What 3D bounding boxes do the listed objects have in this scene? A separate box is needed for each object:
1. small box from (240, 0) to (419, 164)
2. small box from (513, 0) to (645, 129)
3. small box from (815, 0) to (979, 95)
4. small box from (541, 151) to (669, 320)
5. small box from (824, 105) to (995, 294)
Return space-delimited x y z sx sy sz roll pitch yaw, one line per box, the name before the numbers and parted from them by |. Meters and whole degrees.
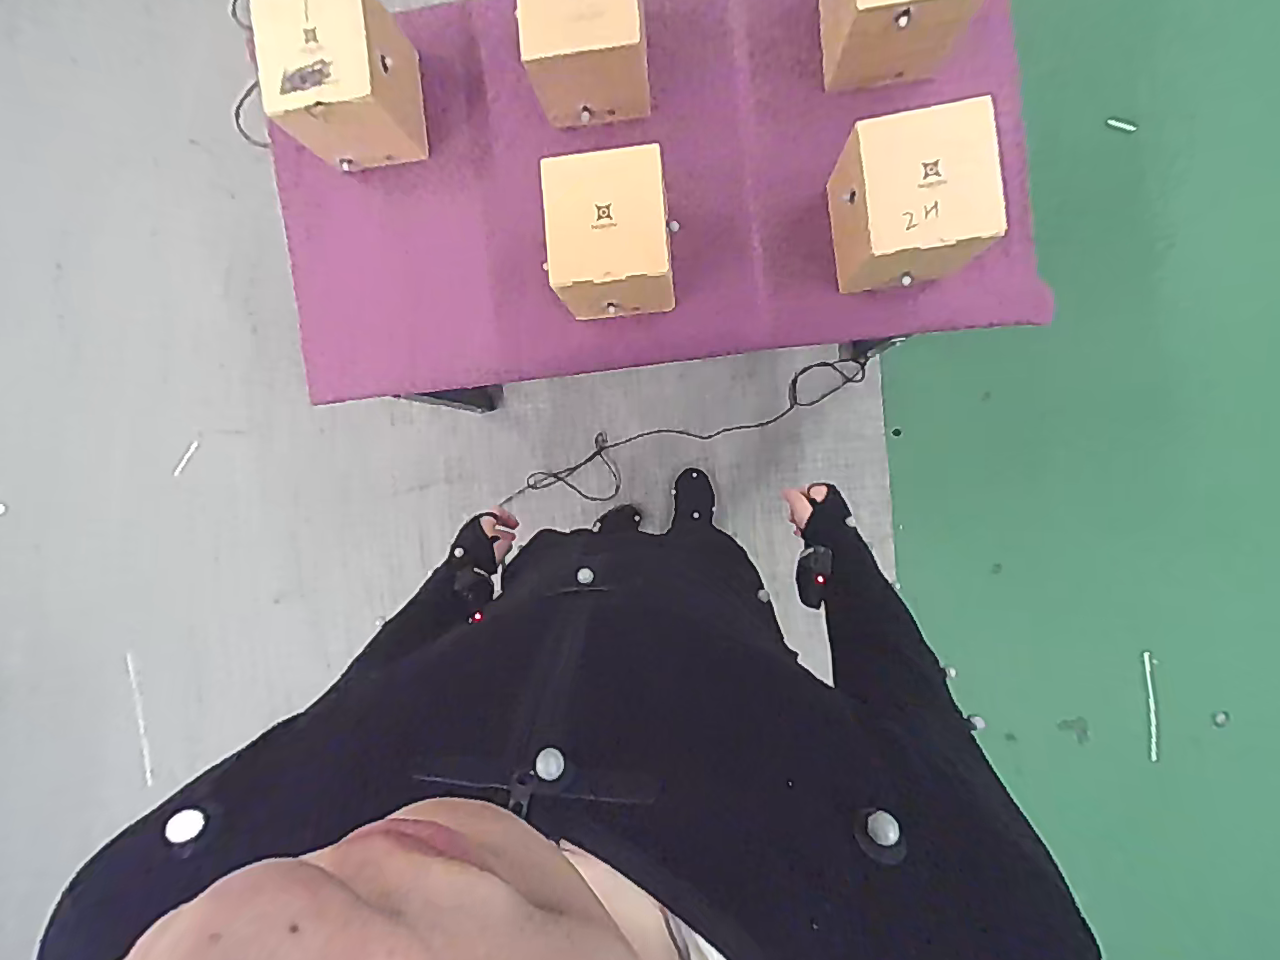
small box | -0.457 -0.609 0.823 0.168 0.176 0.179 -5 94 4
small box | -0.084 -0.660 0.797 0.168 0.176 0.179 -4 95 5
small box | 0.350 -0.691 0.760 0.168 0.176 0.179 -5 94 6
small box | -0.045 -0.355 0.814 0.168 0.176 0.179 -5 93 4
small box | 0.372 -0.387 0.776 0.168 0.176 0.179 -7 93 6
